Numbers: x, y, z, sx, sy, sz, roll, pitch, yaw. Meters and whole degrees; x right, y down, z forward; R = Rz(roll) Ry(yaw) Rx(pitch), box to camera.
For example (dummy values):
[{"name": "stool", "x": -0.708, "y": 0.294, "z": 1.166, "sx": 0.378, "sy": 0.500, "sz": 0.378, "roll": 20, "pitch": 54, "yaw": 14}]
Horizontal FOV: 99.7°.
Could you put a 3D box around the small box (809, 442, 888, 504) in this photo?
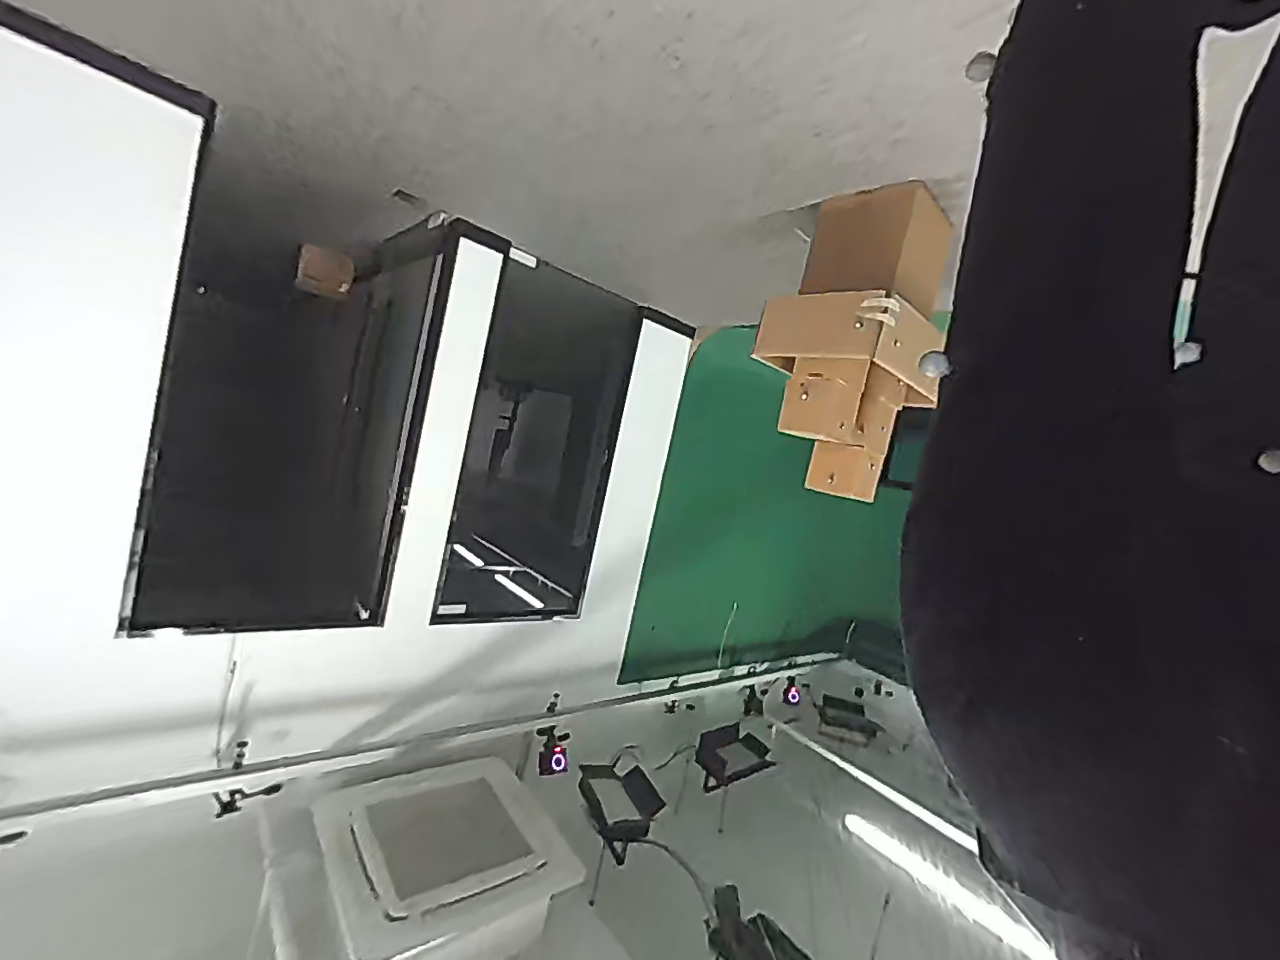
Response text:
[{"name": "small box", "x": 0.711, "y": -0.028, "z": 1.839, "sx": 0.168, "sy": 0.176, "sz": 0.179, "roll": 12, "pitch": -178, "yaw": -41}]
